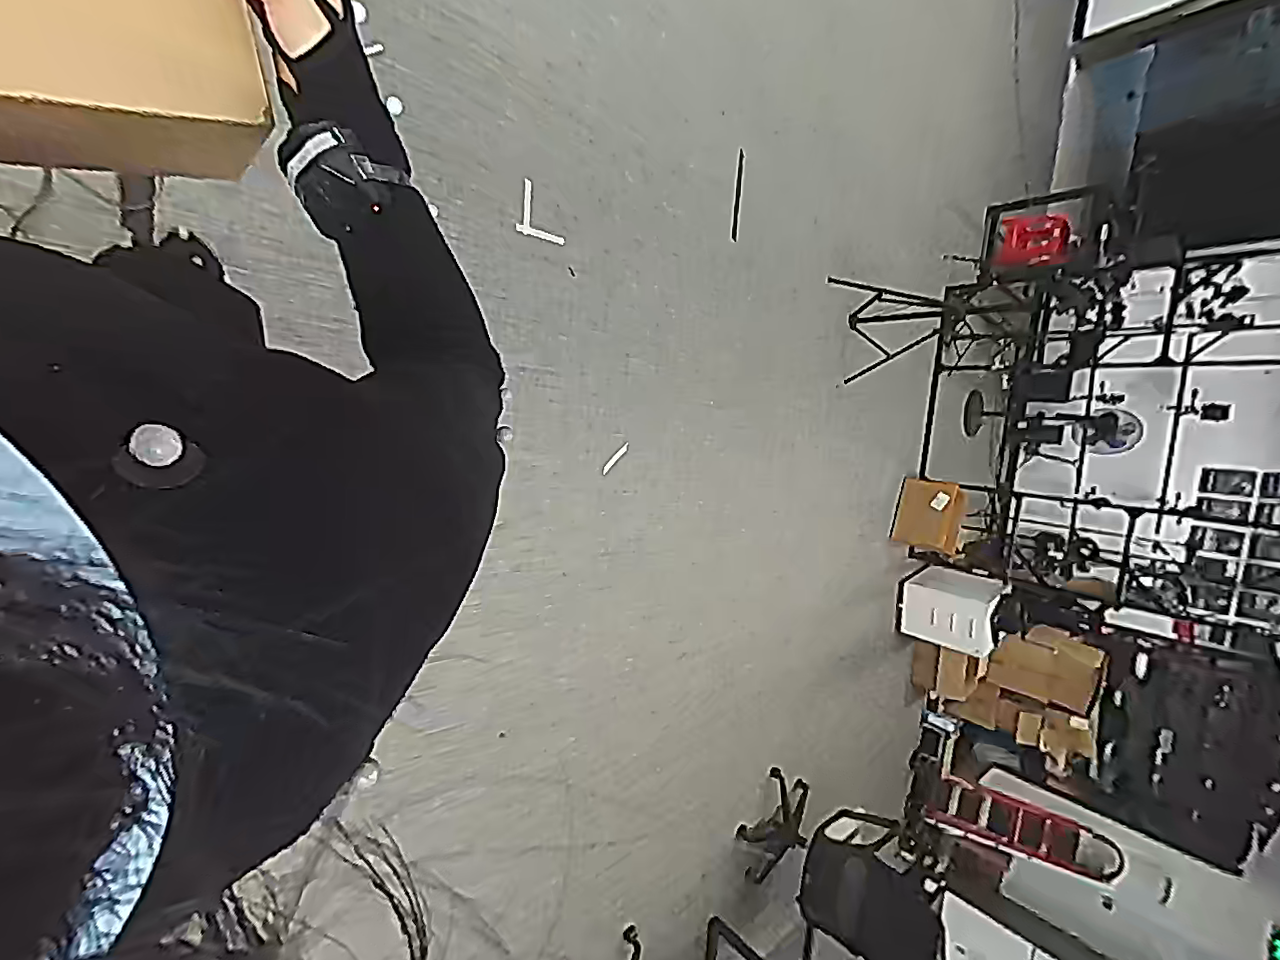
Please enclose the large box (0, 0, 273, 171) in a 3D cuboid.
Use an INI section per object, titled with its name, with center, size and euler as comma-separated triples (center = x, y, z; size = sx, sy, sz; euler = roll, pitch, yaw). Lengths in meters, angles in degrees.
[large box]
center = -0.535, -0.410, 0.361
size = 0.408, 0.320, 0.320
euler = -18, 116, -35
